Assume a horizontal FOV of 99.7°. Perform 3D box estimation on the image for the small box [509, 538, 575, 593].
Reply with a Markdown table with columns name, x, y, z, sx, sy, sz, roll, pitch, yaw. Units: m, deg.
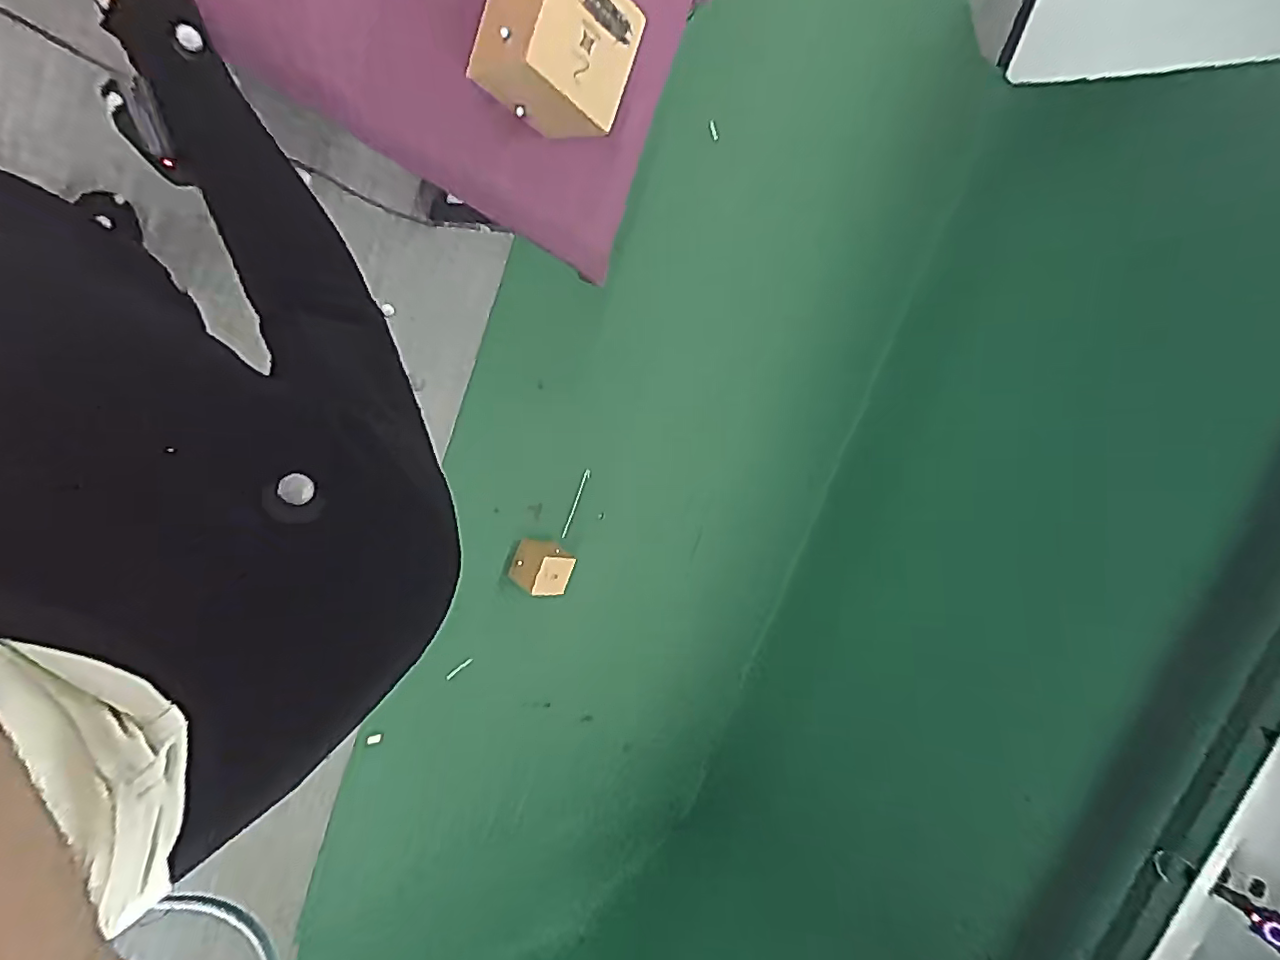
| name | x | y | z | sx | sy | sz | roll | pitch | yaw |
| --- | --- | --- | --- | --- | --- | --- | --- | --- | --- |
| small box | -0.402 | 0.349 | 2.217 | 0.179 | 0.176 | 0.168 | 13 | 100 | -50 |
